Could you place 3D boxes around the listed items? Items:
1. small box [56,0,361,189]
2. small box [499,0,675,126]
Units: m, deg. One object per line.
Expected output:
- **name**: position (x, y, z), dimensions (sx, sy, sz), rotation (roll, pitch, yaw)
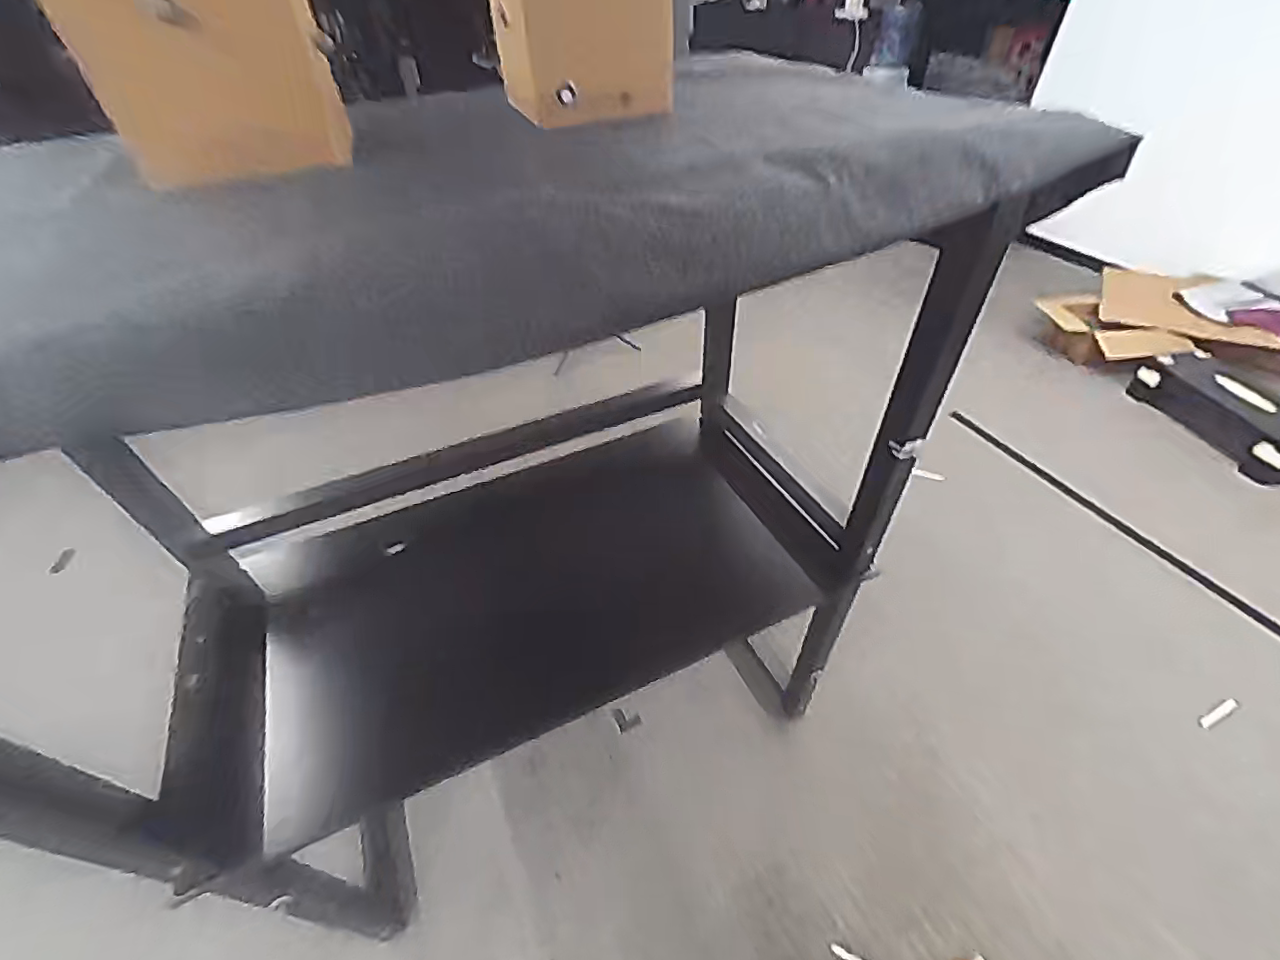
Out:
- **small box**: position (-0.388, -0.403, 0.520), dimensions (0.179, 0.176, 0.168), rotation (-16, 47, -12)
- **small box**: position (-0.063, -0.530, 0.632), dimensions (0.168, 0.176, 0.179), rotation (-17, 46, -14)
